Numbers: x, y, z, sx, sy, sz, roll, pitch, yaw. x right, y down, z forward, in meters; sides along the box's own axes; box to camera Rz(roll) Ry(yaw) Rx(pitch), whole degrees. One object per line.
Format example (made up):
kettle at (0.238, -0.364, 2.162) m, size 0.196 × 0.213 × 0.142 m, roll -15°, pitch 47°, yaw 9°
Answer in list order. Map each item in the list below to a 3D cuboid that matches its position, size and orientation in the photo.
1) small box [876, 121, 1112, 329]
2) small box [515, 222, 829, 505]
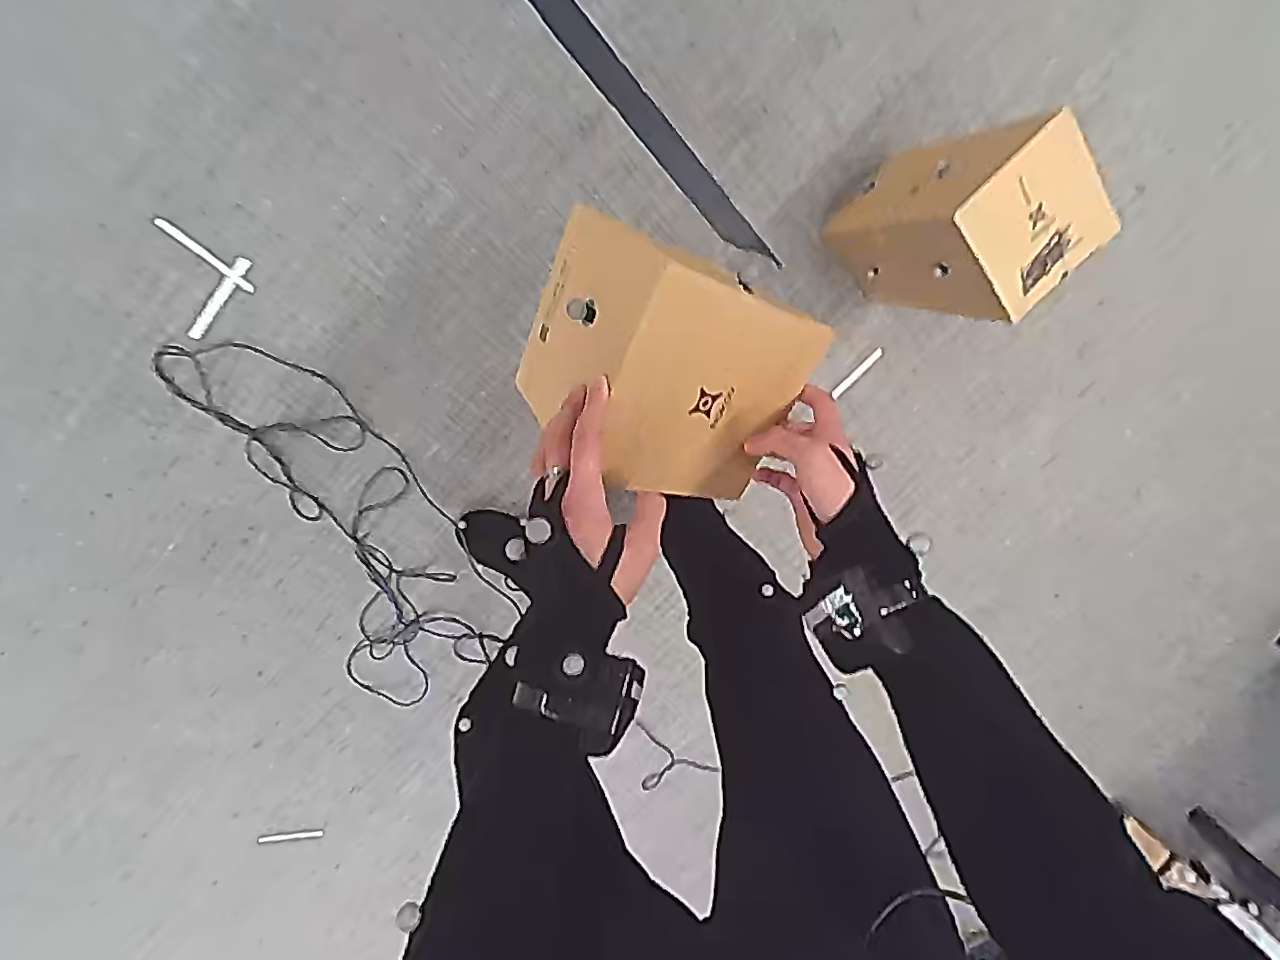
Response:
small box at (0.464, -0.333, 0.731) m, size 0.168 × 0.176 × 0.179 m, roll -44°, pitch 112°, yaw 8°
small box at (0.013, -0.099, 0.461) m, size 0.179 × 0.176 × 0.168 m, roll 6°, pitch 121°, yaw -36°
